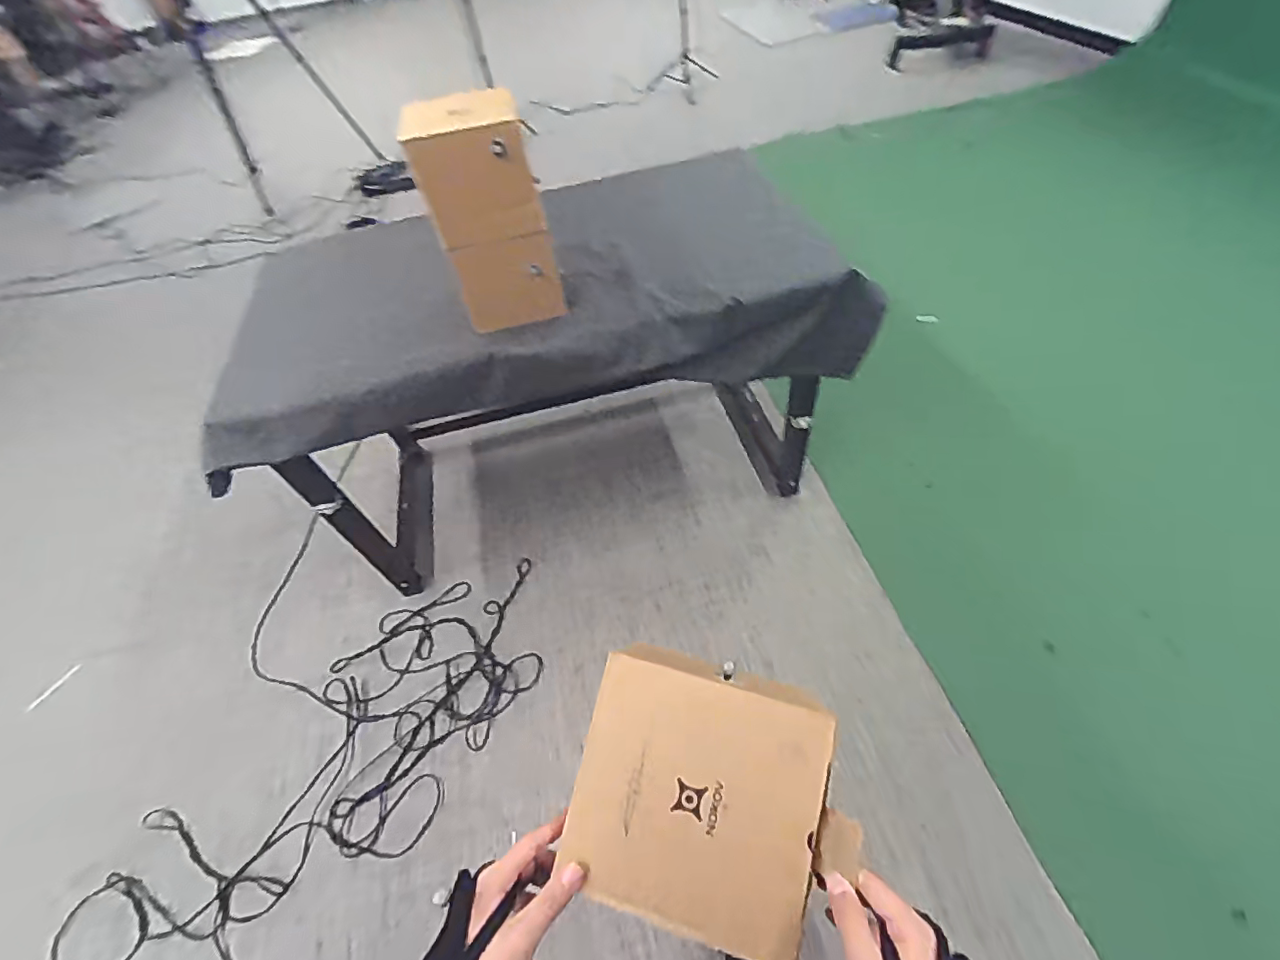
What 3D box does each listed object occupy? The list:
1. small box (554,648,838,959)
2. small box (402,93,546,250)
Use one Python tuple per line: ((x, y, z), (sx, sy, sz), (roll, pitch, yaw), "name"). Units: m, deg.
((0.051, 0.245, 0.461), (0.179, 0.176, 0.168), (11, 76, 11), "small box")
((-0.264, -0.500, 0.886), (0.179, 0.176, 0.168), (-13, 51, -4), "small box")
